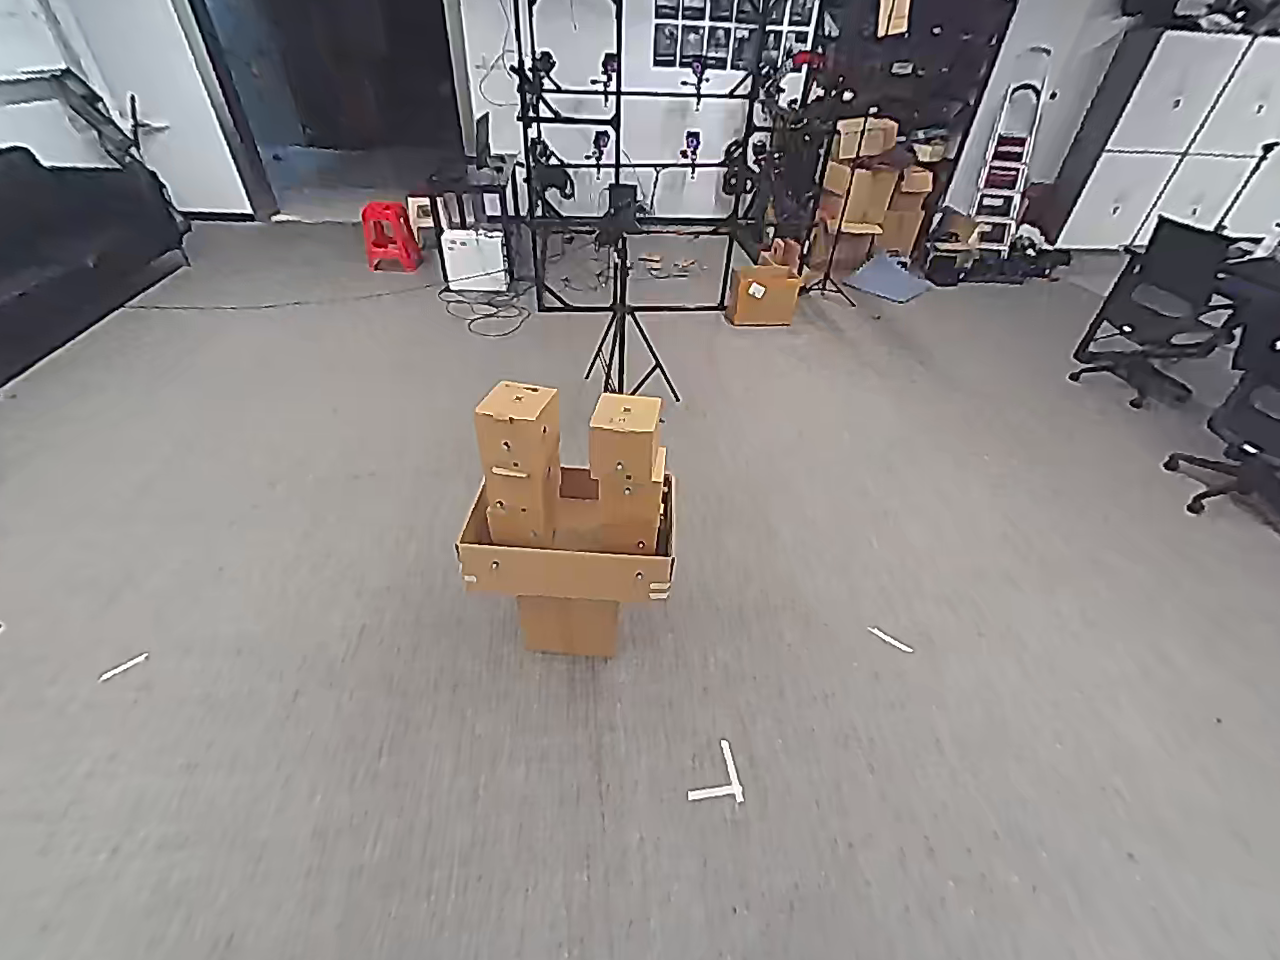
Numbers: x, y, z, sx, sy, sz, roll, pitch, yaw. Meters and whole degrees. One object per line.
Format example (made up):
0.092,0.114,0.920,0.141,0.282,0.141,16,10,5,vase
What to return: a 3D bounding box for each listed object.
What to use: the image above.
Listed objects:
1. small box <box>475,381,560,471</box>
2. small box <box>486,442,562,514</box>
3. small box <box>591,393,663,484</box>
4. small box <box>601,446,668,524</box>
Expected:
-0.322,-0.145,1.469,0.168,0.176,0.179,11,40,9,small box
-0.329,-0.021,1.577,0.168,0.176,0.179,8,38,6,small box
-0.033,-0.114,1.452,0.168,0.176,0.179,6,39,6,small box
-0.015,0.012,1.560,0.179,0.176,0.168,4,38,3,small box
